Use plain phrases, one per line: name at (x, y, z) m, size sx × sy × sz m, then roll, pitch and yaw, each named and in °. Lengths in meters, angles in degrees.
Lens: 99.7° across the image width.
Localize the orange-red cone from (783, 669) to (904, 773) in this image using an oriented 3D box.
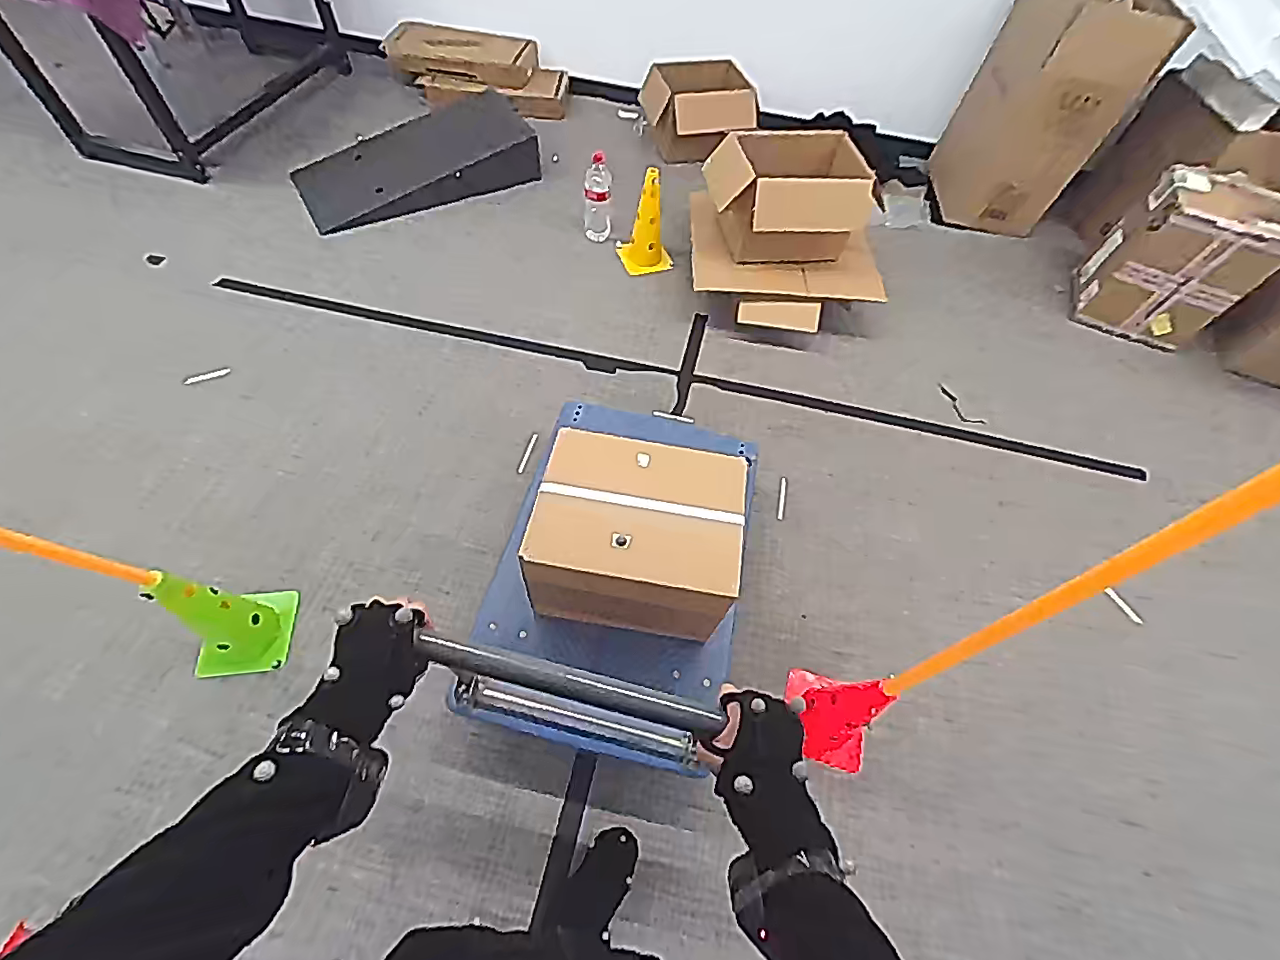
orange-red cone at (0.477, 0.498, 1.185) m, size 0.199 × 0.360 × 0.198 m, roll 19°, pitch 59°, yaw 6°
